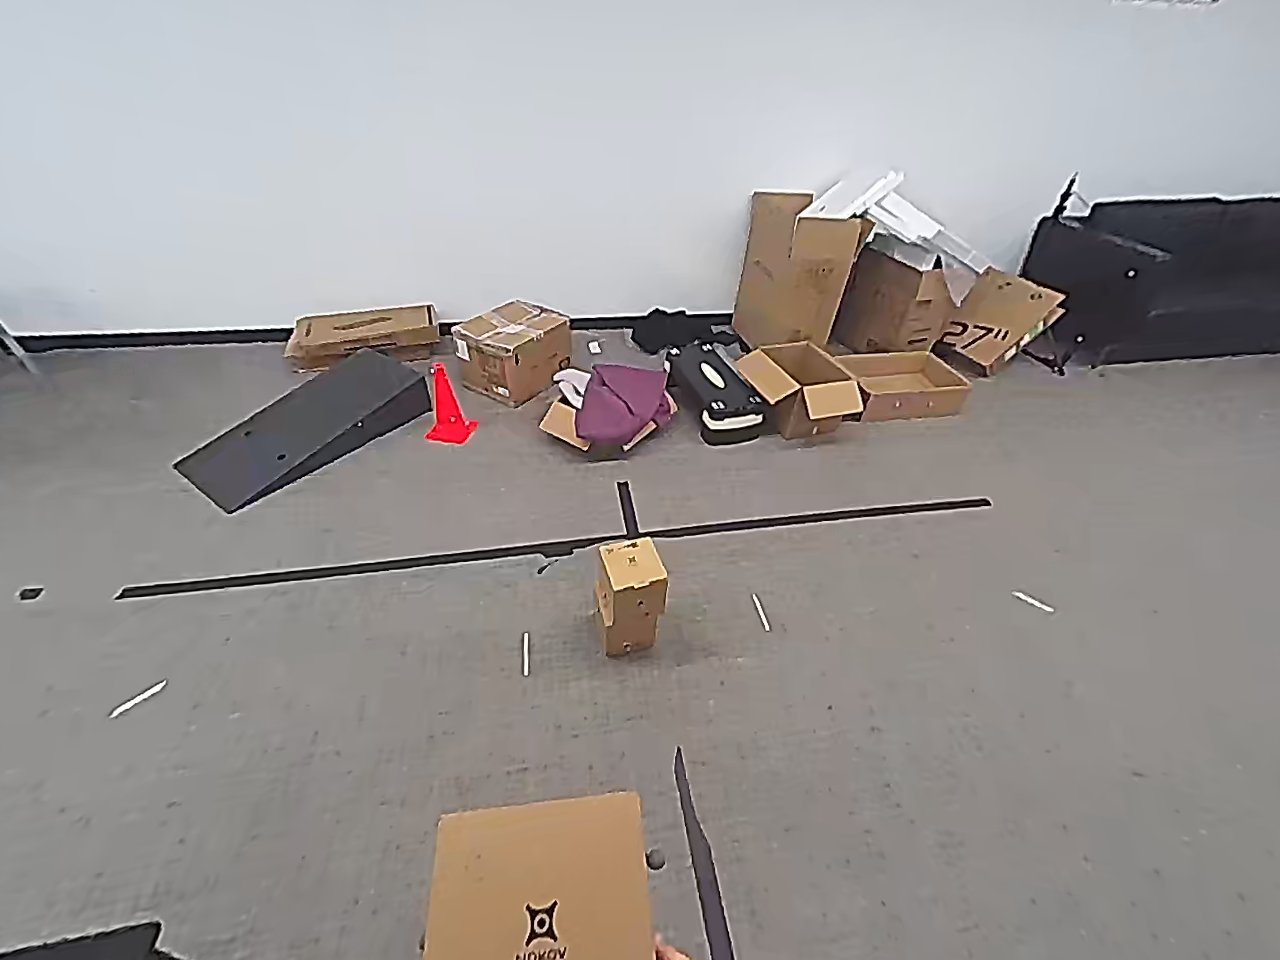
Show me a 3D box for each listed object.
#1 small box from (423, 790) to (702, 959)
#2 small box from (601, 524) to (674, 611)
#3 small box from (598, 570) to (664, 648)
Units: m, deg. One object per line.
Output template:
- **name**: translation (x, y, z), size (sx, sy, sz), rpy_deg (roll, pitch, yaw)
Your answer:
- **small box**: translation (-0.047, 0.341, 0.373), size (0.168, 0.176, 0.179), rpy_deg (-5, 48, -5)
- **small box**: translation (-0.010, 0.258, 1.561), size (0.168, 0.176, 0.179), rpy_deg (-11, 42, -15)
- **small box**: translation (-0.035, 0.384, 1.665), size (0.168, 0.176, 0.179), rpy_deg (-10, 43, -14)
